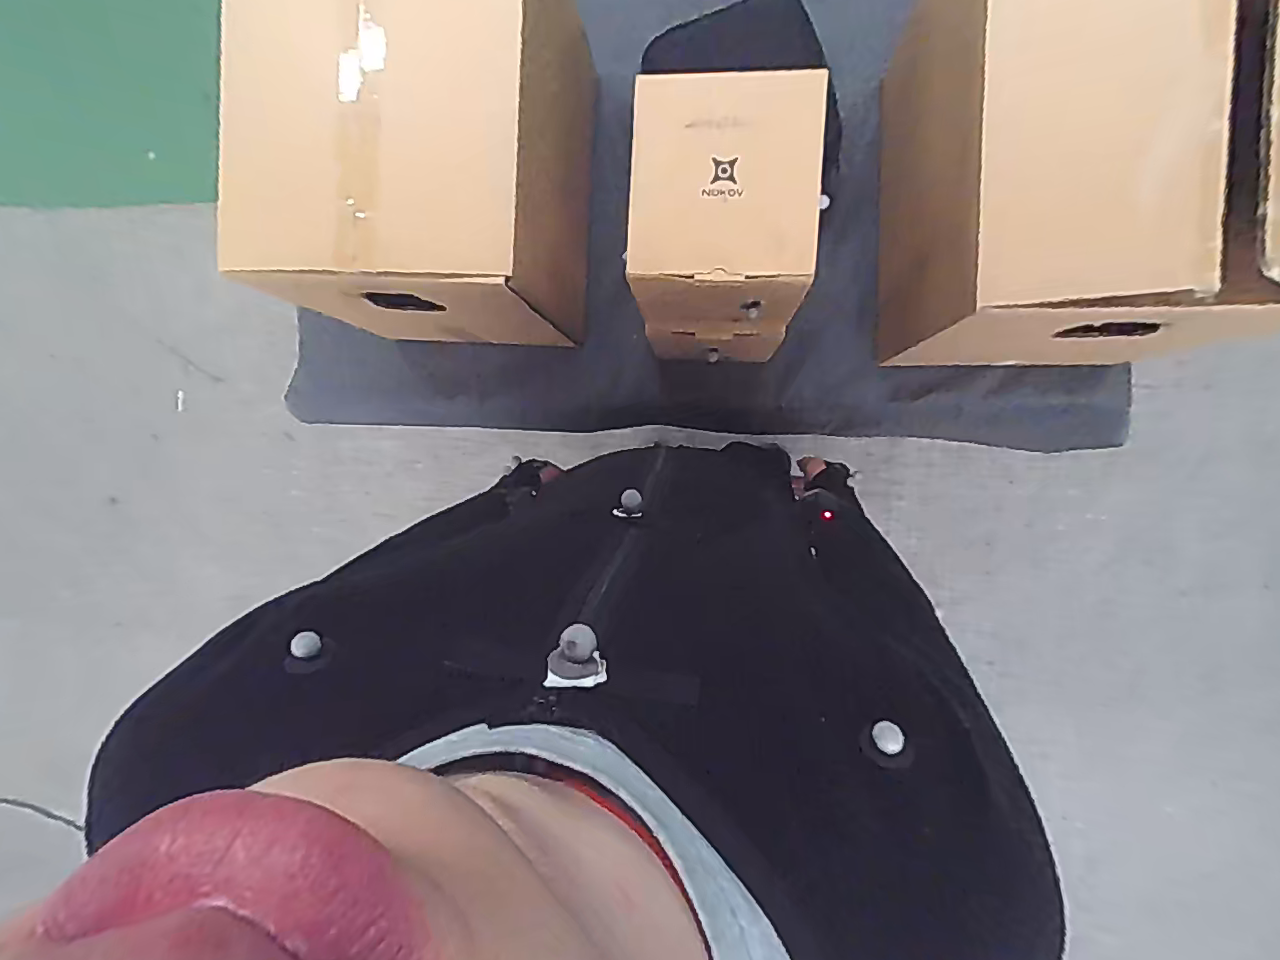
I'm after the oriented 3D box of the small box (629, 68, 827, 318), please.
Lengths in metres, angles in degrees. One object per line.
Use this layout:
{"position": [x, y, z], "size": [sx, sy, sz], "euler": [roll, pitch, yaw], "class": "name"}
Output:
{"position": [0.083, -0.271, 0.551], "size": [0.168, 0.176, 0.179], "euler": [2, 92, 5], "class": "small box"}
